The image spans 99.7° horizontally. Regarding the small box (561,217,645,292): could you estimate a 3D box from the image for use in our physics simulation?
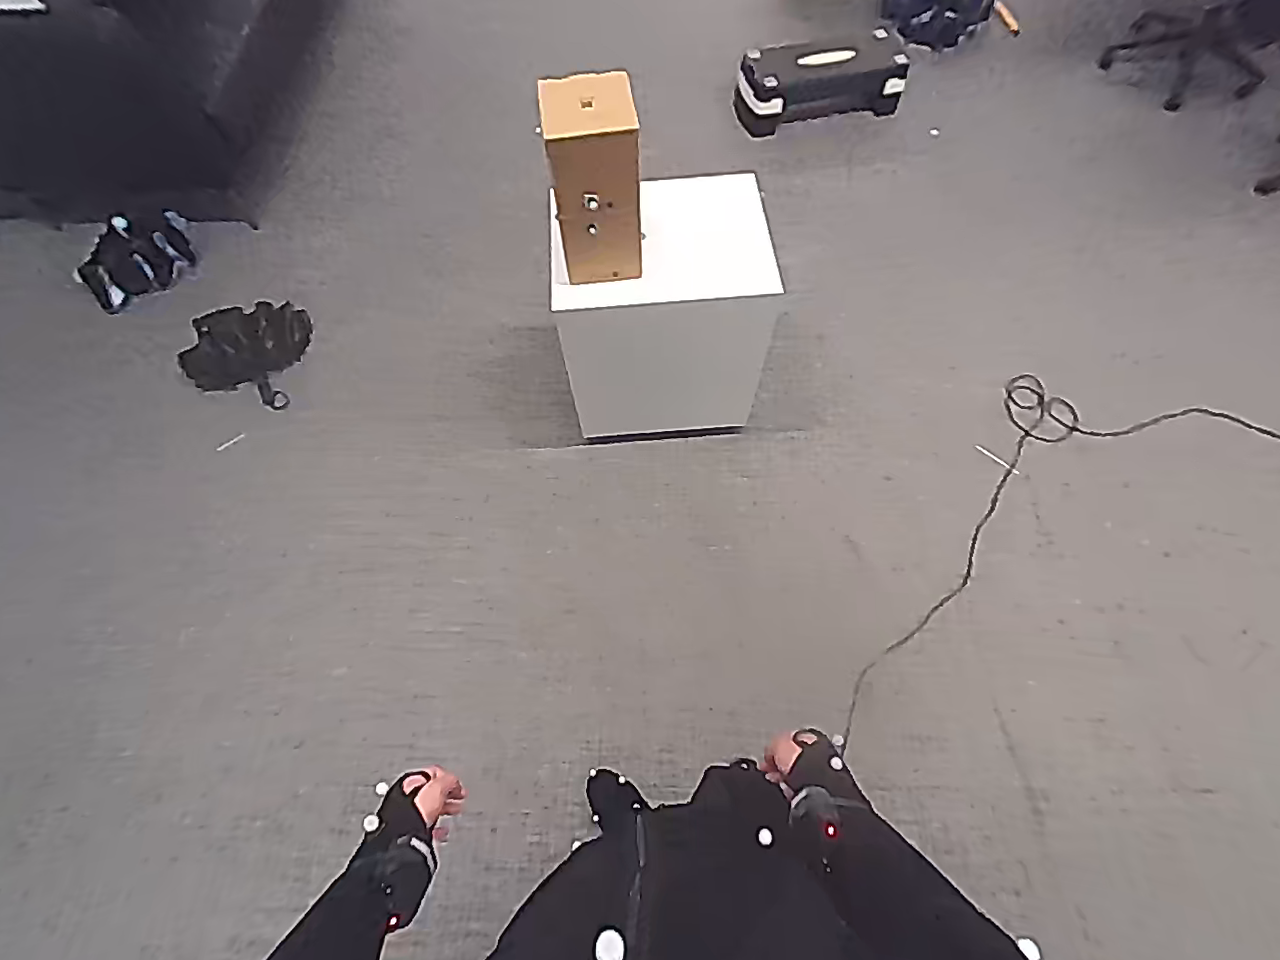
[{"bbox_3d":[-0.080,-0.538,1.173,0.168,0.176,0.179,-7,63,-1],"label":"small box"}]

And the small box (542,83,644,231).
[{"bbox_3d":[-0.085,-0.608,1.026,0.168,0.176,0.179,-9,65,-1],"label":"small box"}]
